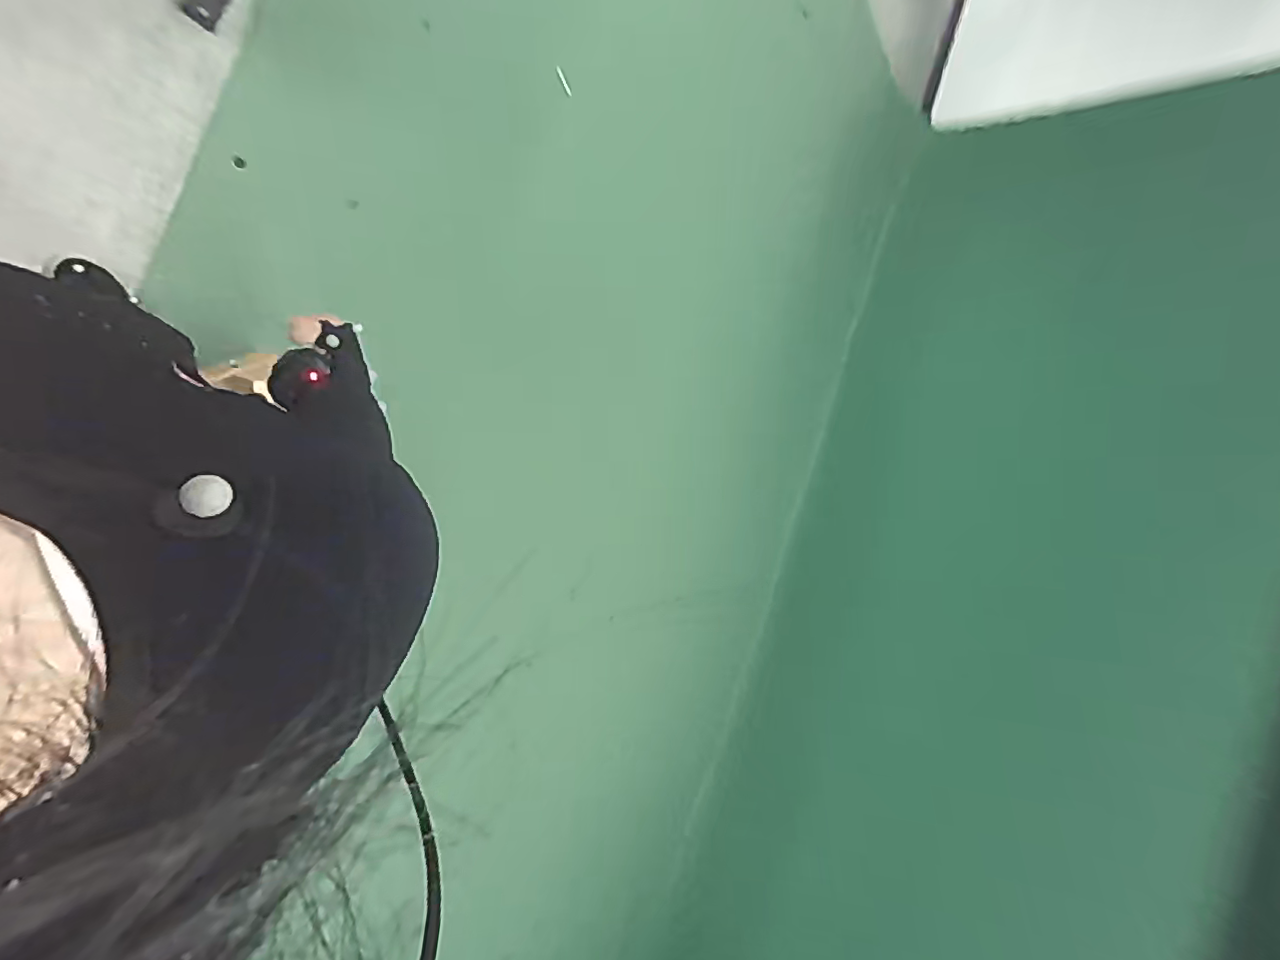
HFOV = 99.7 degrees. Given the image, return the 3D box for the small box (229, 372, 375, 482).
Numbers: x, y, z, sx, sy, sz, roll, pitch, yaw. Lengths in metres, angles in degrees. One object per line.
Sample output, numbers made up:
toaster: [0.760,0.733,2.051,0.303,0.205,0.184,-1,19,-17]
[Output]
small box: [-0.605,-0.105,0.973,0.179,0.176,0.168,-13,111,-45]

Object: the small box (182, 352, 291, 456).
small box: [-0.854,-0.171,1.176,0.179,0.176,0.168,-35,126,-36]
